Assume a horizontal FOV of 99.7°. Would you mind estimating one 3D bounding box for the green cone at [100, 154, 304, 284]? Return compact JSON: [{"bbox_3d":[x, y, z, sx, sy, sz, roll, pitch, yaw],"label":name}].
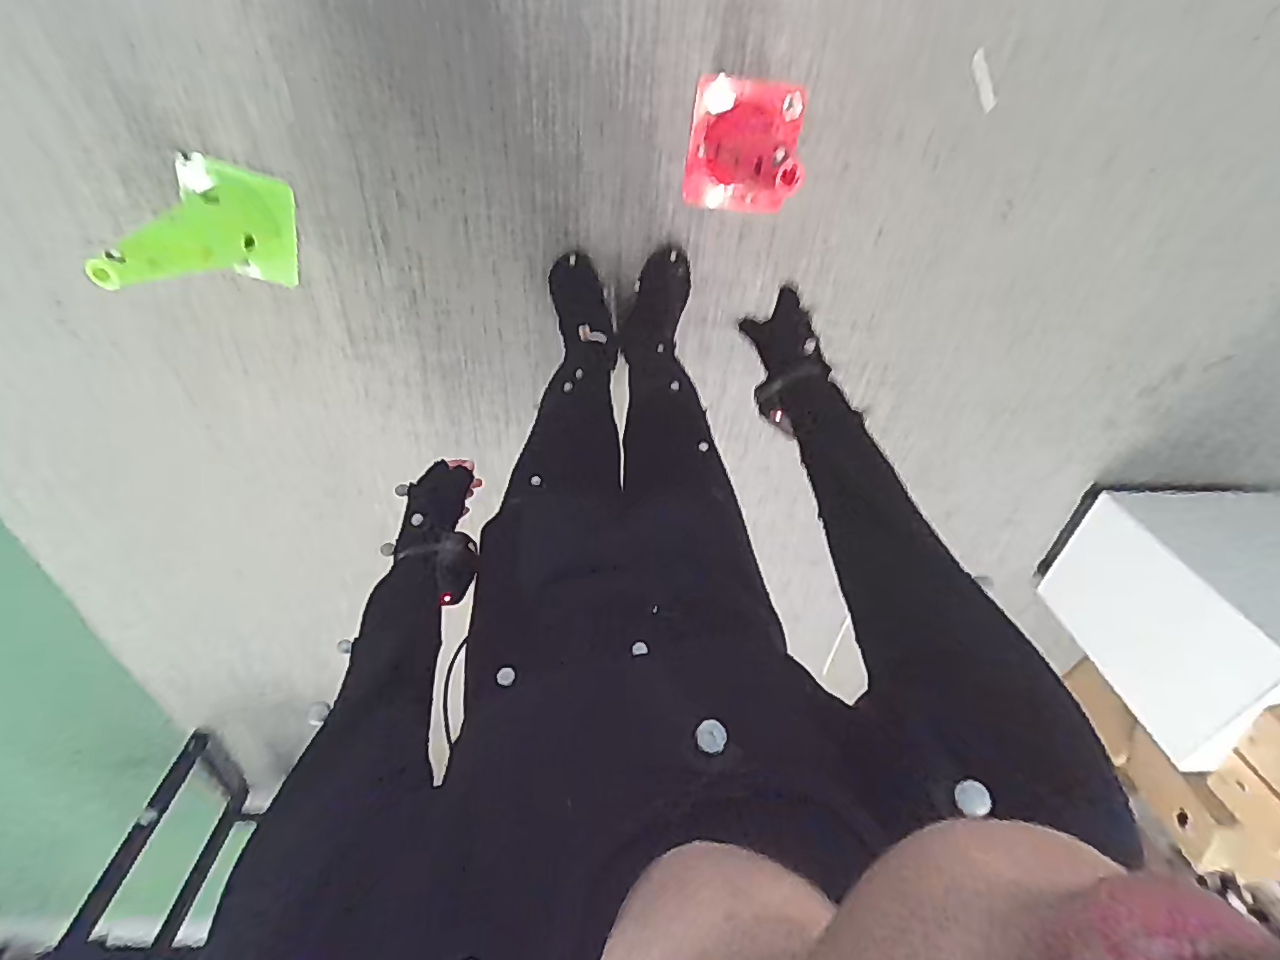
[{"bbox_3d":[-0.768,-0.406,0.925,0.202,0.368,0.200,13,125,-11],"label":"green cone"}]
